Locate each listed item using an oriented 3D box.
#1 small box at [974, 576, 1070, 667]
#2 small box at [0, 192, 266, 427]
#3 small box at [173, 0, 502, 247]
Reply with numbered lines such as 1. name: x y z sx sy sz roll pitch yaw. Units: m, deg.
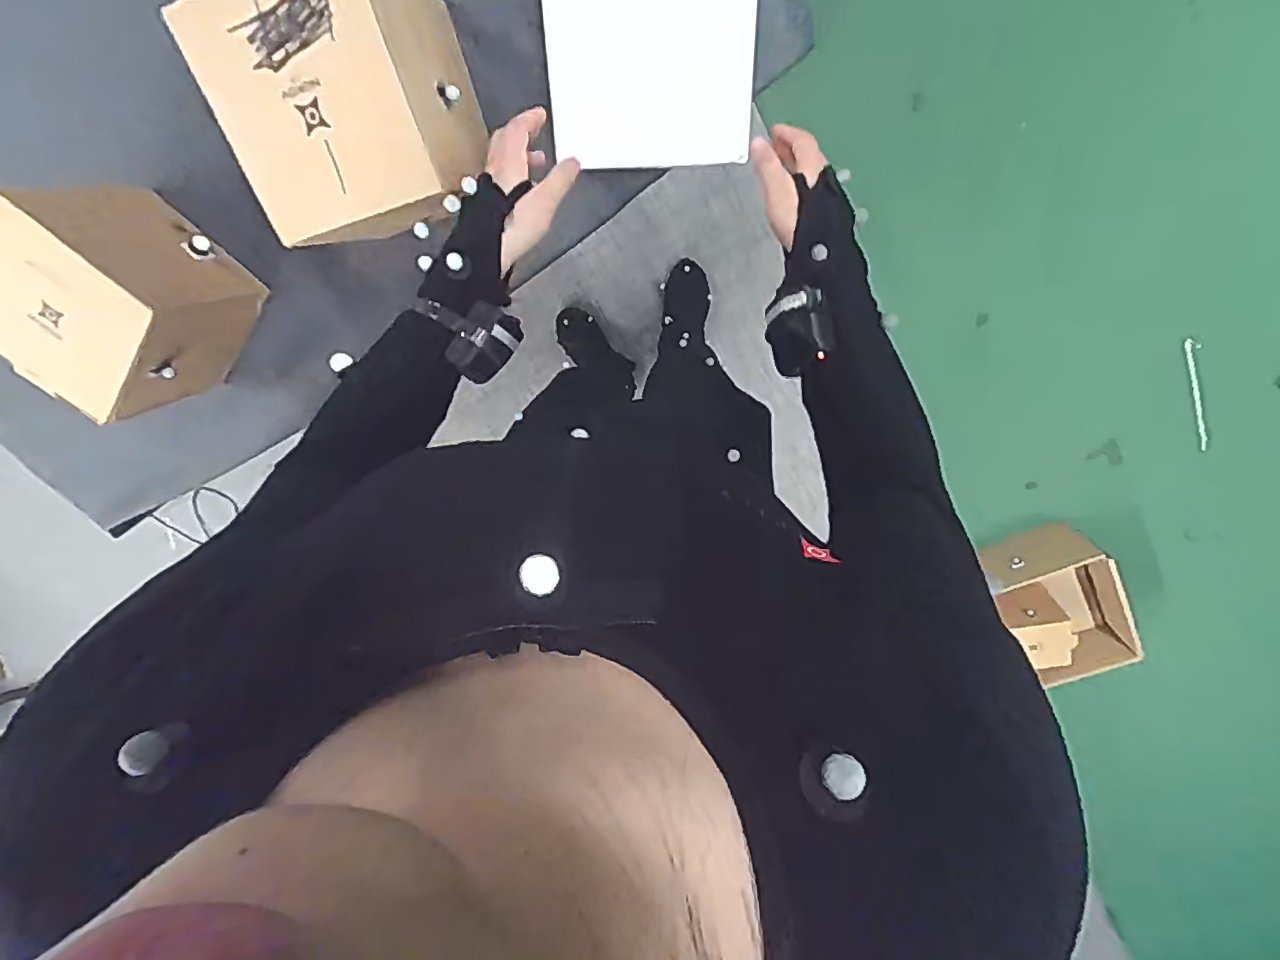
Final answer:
1. small box: 1.064 0.395 1.519 0.179 0.176 0.168 -15 116 15
2. small box: -0.582 -0.197 0.620 0.168 0.176 0.179 41 114 -15
3. small box: -0.256 -0.334 0.507 0.168 0.176 0.179 -11 116 13
